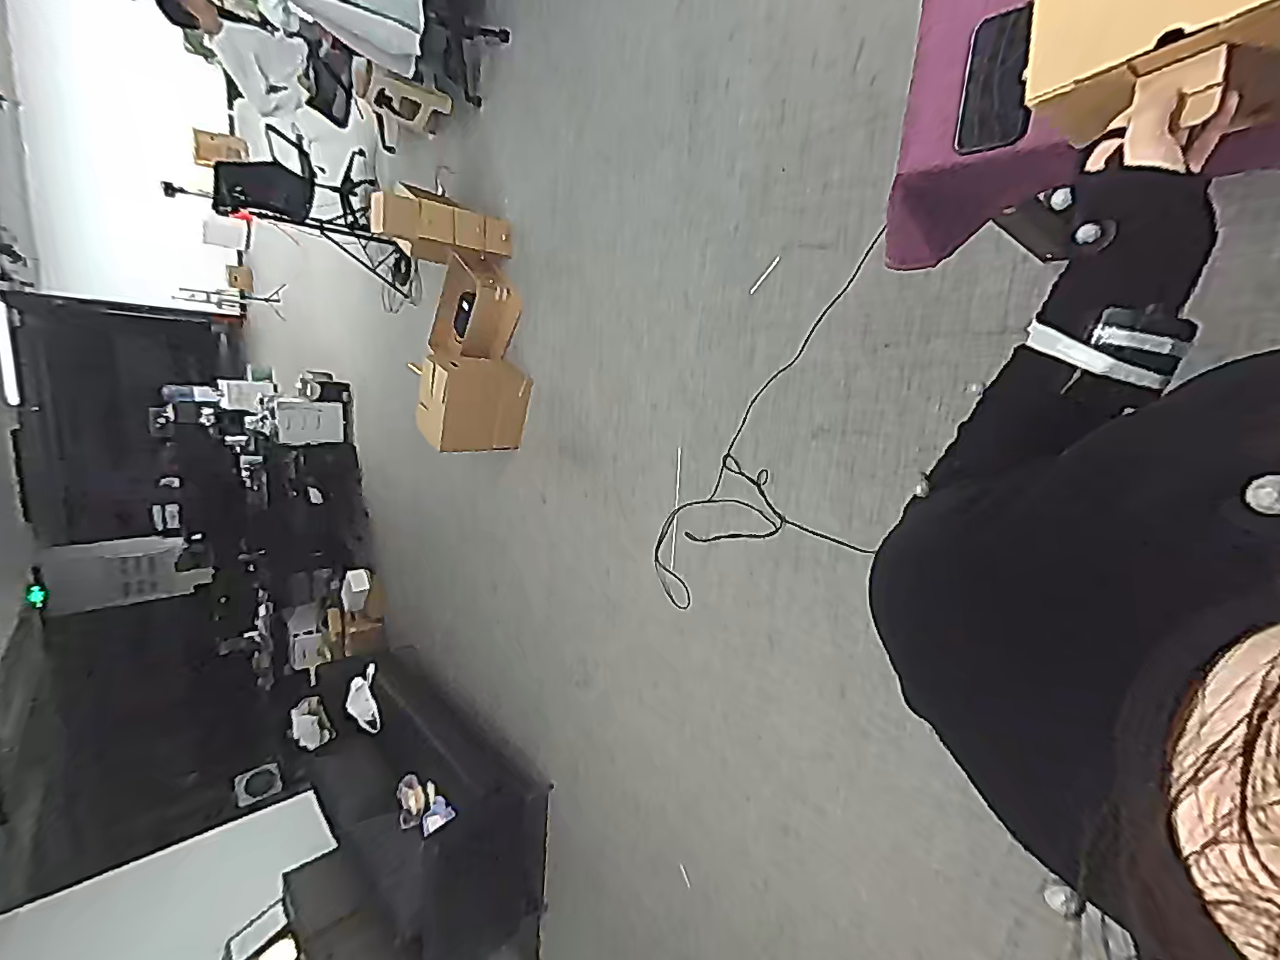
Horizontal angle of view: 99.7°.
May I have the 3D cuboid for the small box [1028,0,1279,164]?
[{"bbox_3d":[0.416,-0.368,0.390,0.168,0.176,0.179,10,100,54],"label":"small box"}]
